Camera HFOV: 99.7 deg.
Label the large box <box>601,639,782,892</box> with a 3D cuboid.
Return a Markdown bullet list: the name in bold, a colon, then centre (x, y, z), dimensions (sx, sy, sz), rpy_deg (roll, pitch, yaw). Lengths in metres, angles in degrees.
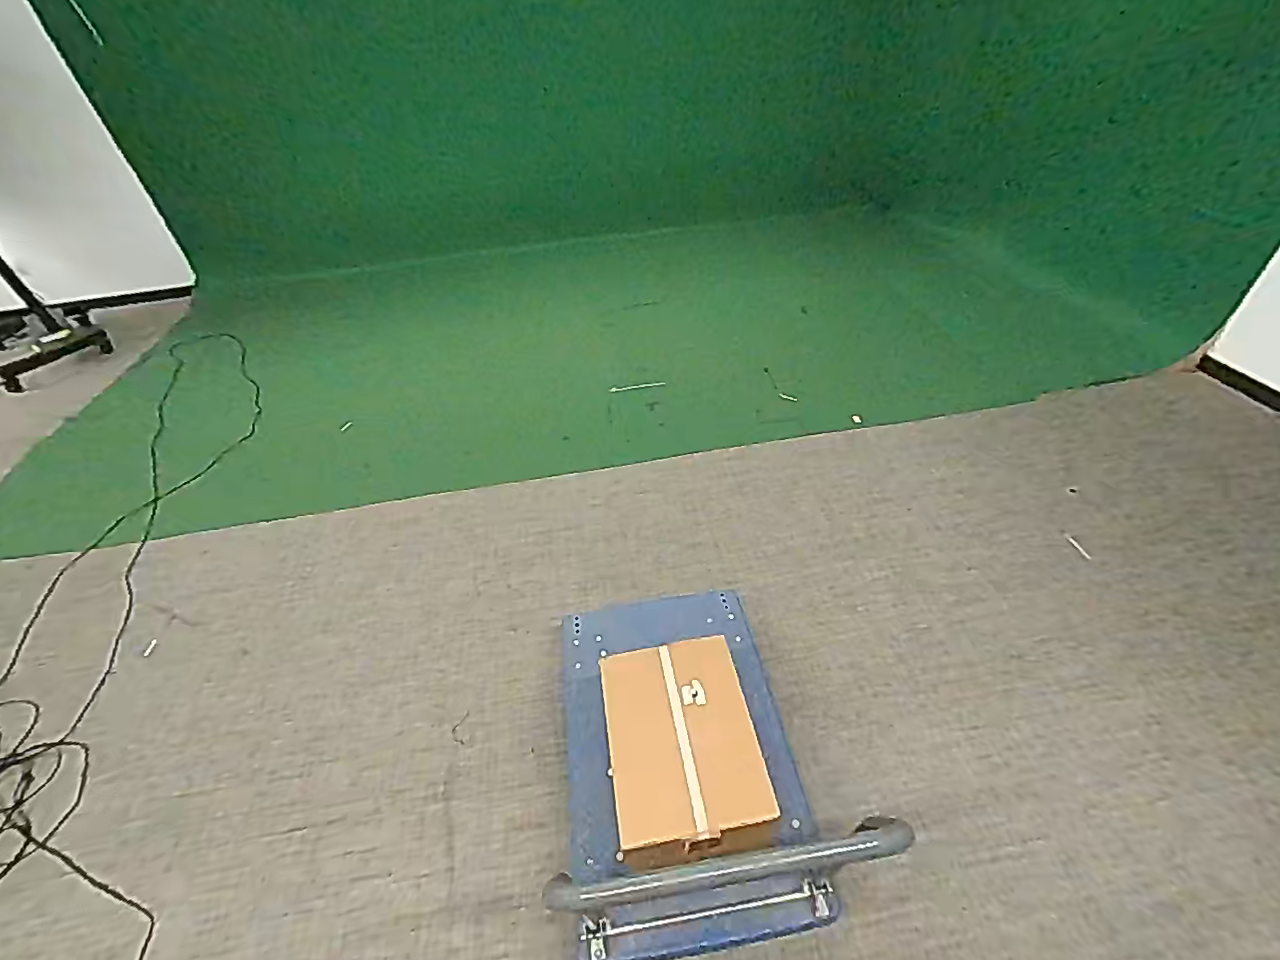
- **large box**: centre (0.103, 0.653, 1.260), dimensions (0.320, 0.320, 0.408), rpy_deg (-9, 41, -5)
